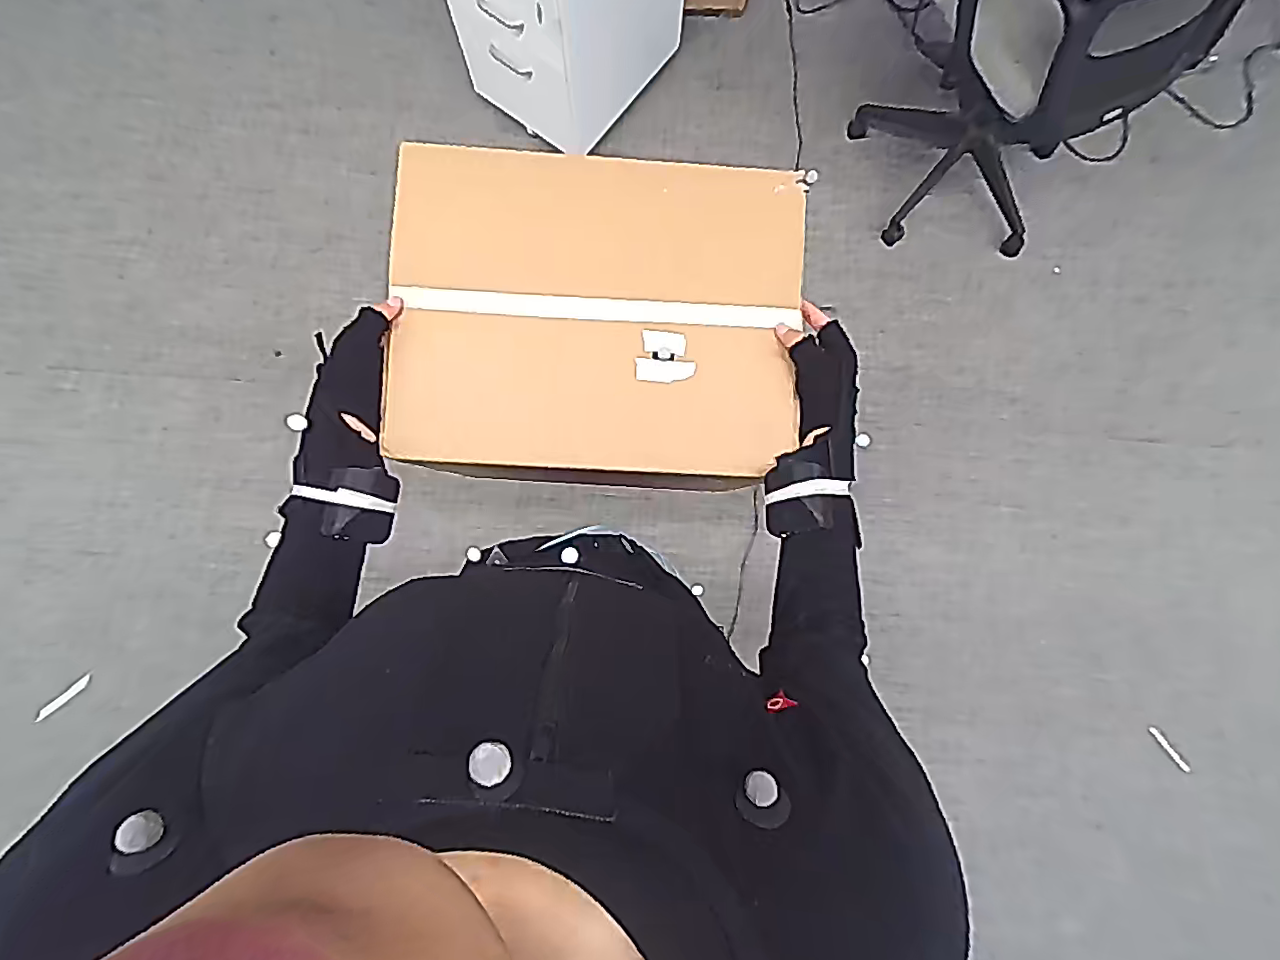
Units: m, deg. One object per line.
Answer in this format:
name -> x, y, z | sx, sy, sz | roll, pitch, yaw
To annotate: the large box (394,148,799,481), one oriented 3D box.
large box -> -0.048, -0.167, 0.694 | 0.408, 0.320, 0.320 | 3, 88, -3
